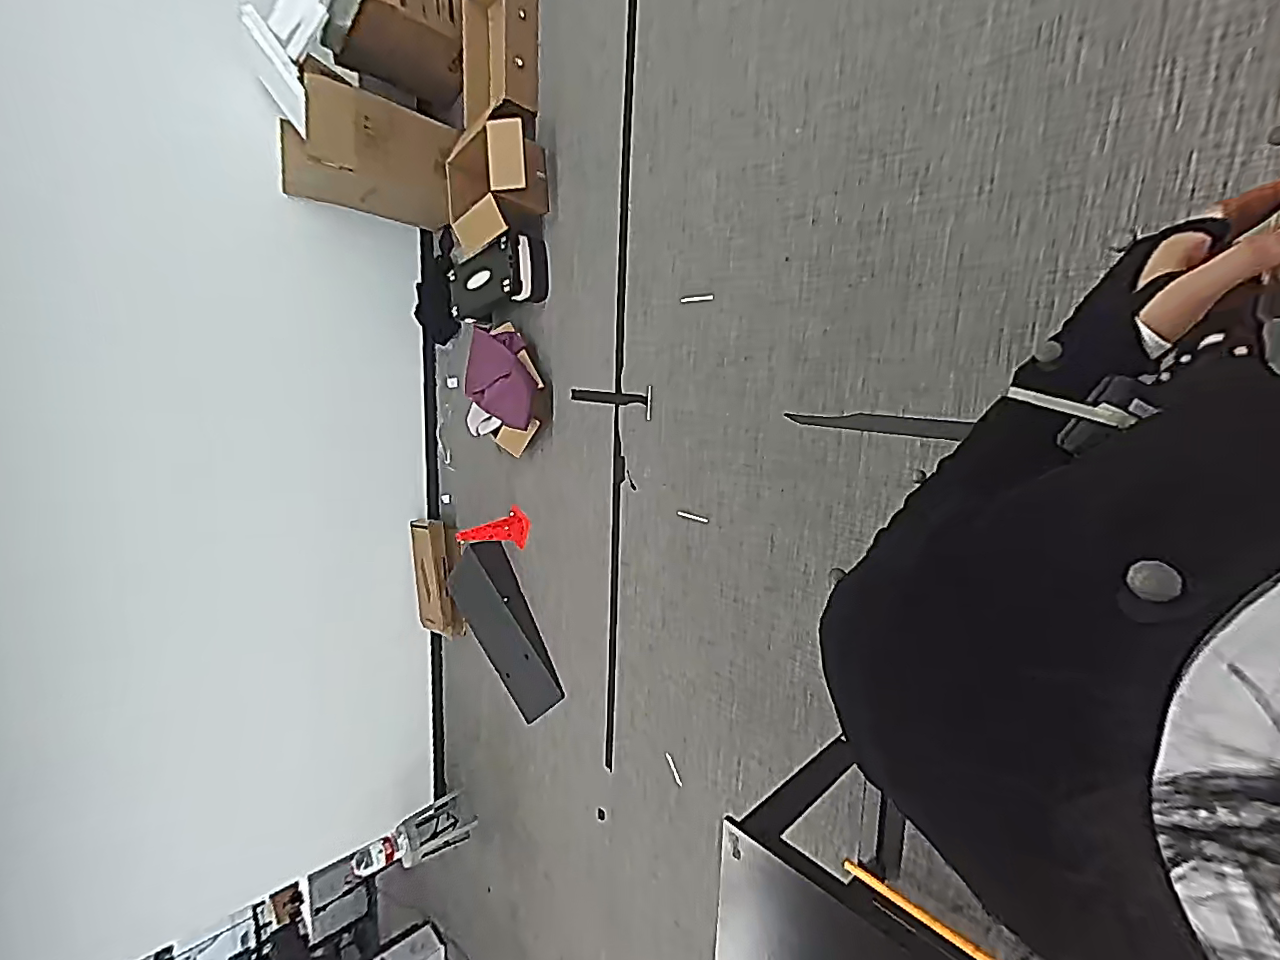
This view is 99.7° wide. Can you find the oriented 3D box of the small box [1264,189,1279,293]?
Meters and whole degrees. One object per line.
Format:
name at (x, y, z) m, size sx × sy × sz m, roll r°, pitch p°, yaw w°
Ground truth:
small box at (0.486, -0.206, 0.297) m, size 0.168 × 0.176 × 0.179 m, roll 13°, pitch 104°, yaw 46°
